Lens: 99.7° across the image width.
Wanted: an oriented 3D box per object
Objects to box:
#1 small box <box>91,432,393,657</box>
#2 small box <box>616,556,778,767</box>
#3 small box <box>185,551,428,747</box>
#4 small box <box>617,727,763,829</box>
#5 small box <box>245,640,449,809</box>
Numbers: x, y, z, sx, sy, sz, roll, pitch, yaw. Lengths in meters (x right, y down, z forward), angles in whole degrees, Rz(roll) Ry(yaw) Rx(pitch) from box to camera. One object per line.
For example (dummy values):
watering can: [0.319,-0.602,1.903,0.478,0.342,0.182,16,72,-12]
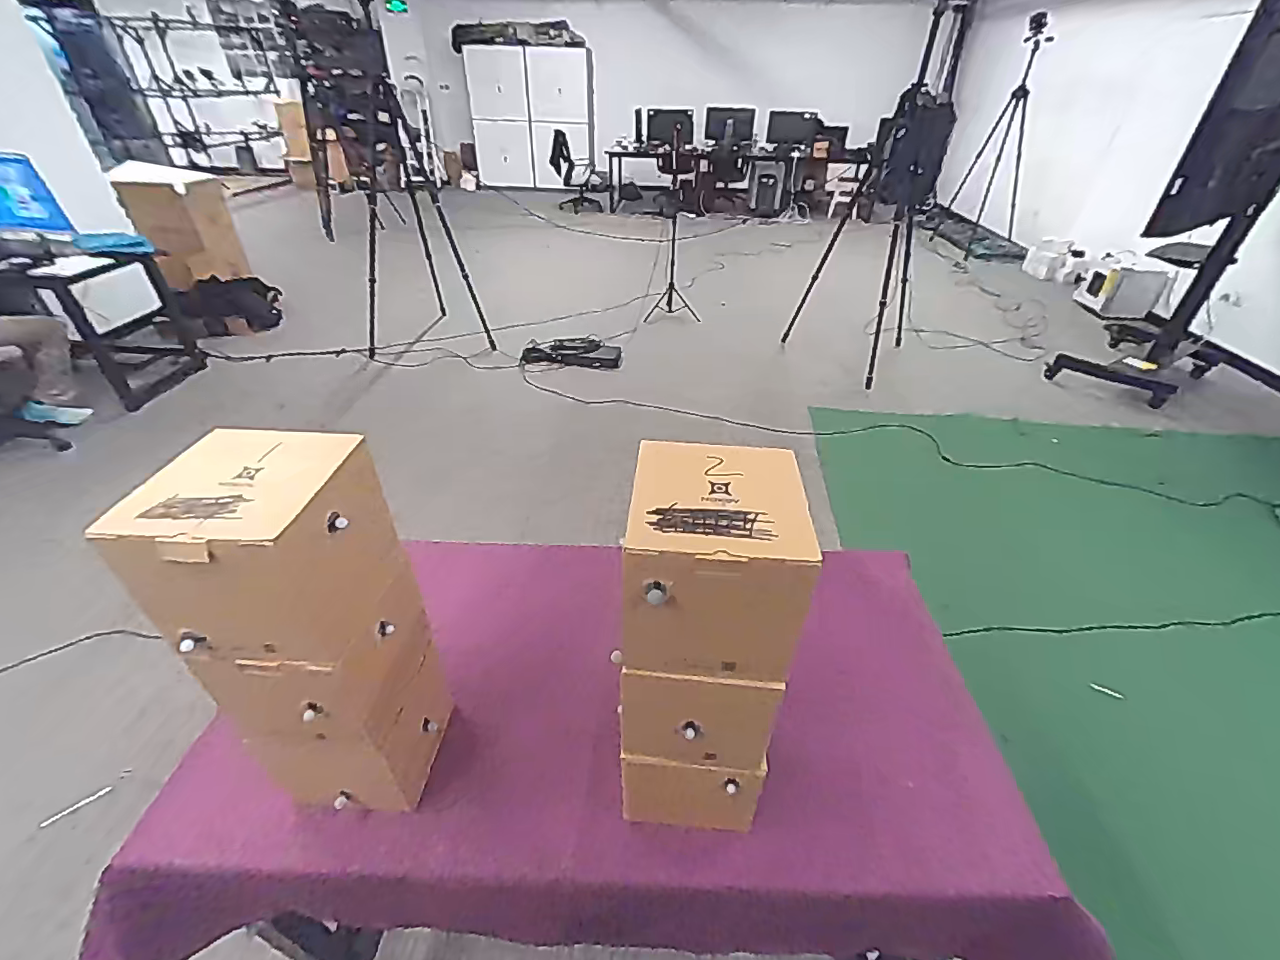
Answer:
small box: [-0.387,0.066,0.573,0.168,0.176,0.179,3,35,1]
small box: [0.067,0.218,0.653,0.168,0.176,0.179,5,36,5]
small box: [-0.384,0.202,0.666,0.168,0.176,0.179,4,36,4]
small box: [0.065,0.354,0.746,0.179,0.176,0.168,4,36,3]
small box: [-0.388,0.337,0.759,0.179,0.176,0.168,3,36,2]
